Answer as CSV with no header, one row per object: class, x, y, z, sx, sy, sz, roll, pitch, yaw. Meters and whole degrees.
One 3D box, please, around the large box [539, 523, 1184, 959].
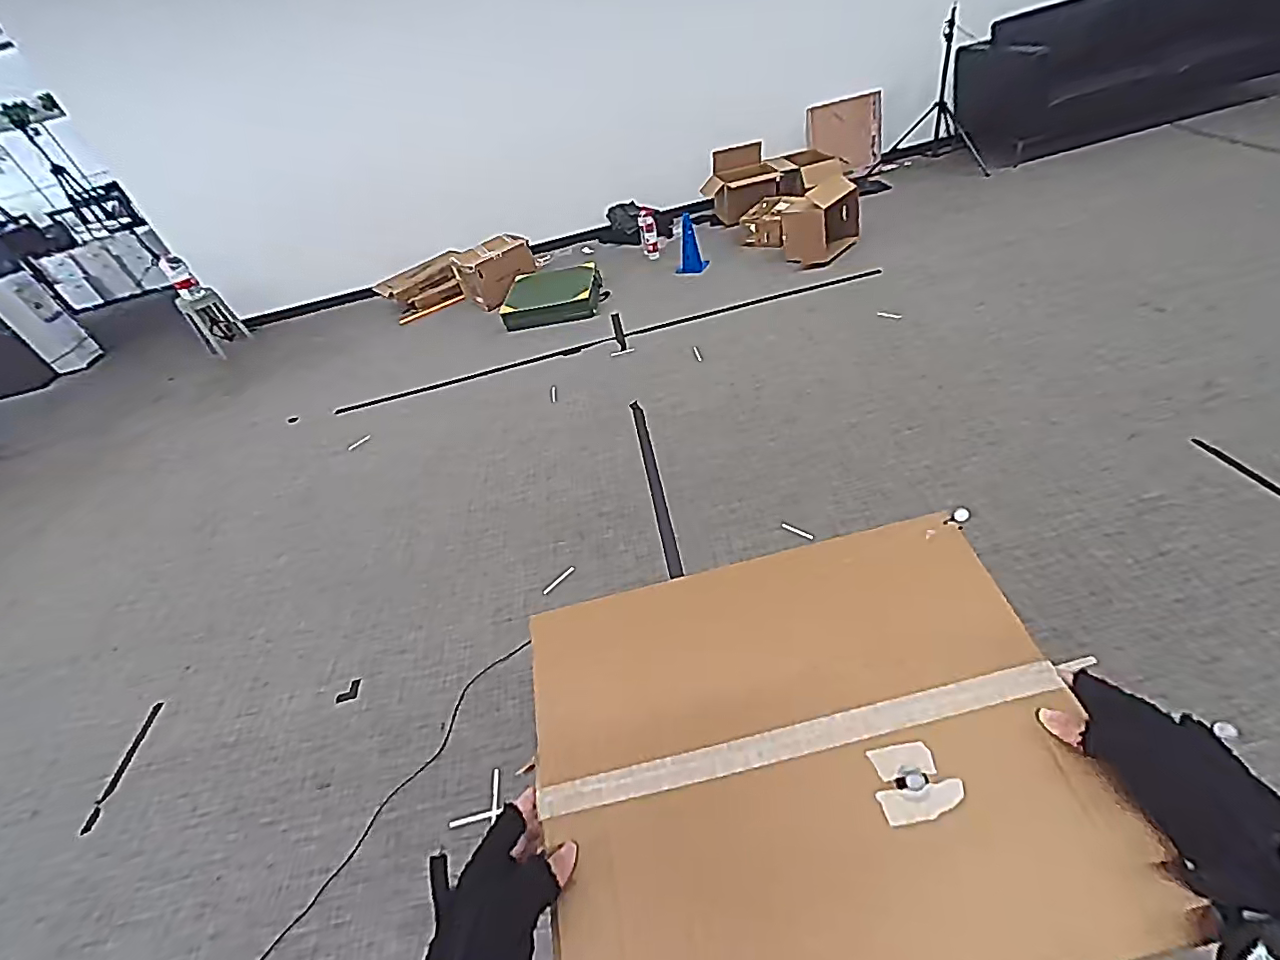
large box,0.145,0.297,0.546,0.408,0.320,0.320,-15,53,1
